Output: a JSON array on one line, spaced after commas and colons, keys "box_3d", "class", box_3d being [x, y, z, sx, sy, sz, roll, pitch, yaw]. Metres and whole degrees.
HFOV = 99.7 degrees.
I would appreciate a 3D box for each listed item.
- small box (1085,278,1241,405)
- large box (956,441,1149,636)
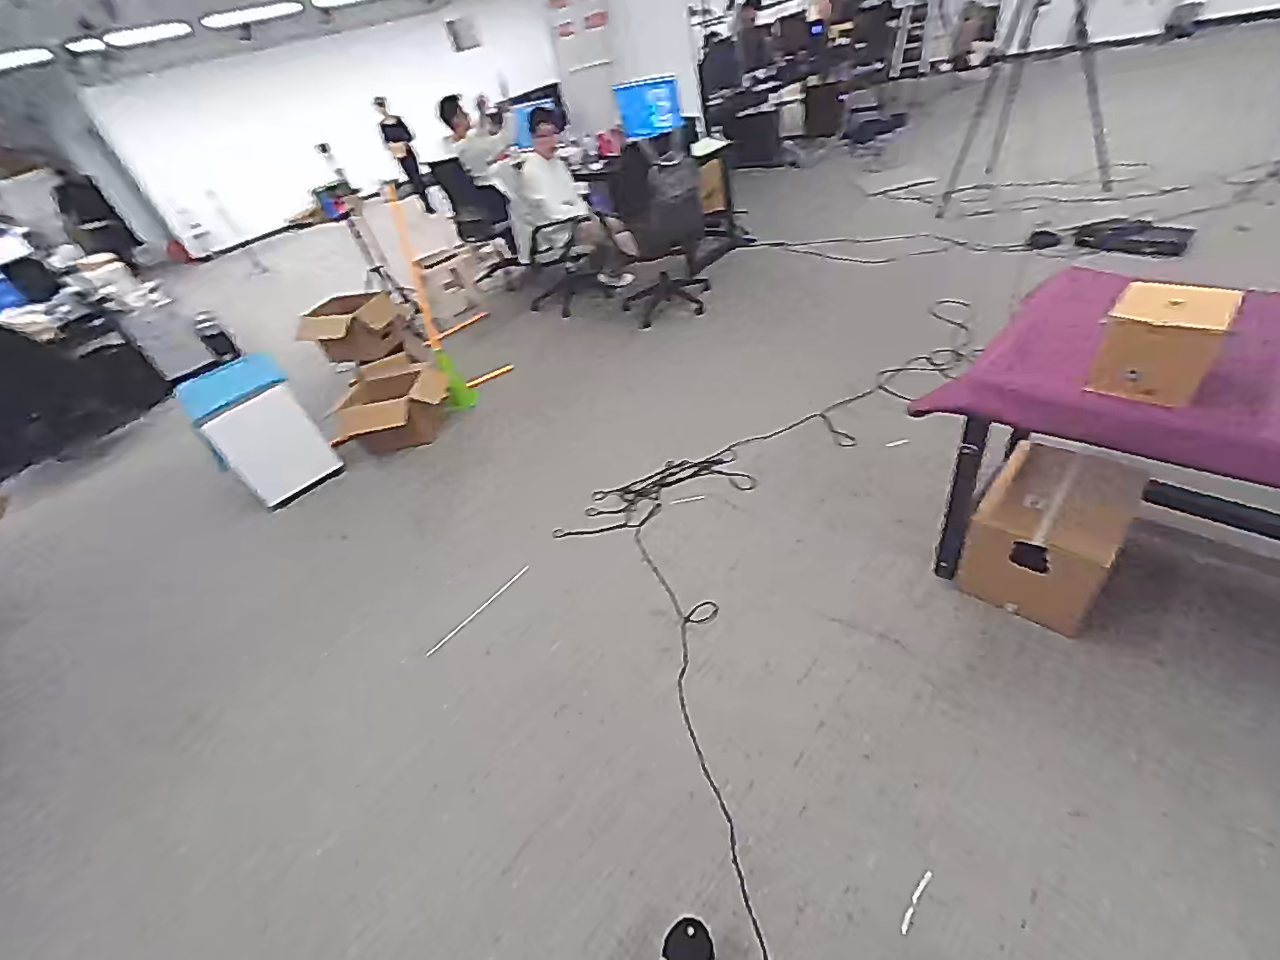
[{"box_3d": [1.026, -0.277, 1.073, 0.168, 0.176, 0.179, 26, 54, 39], "class": "small box"}, {"box_3d": [1.173, 0.155, 1.561, 0.320, 0.320, 0.408, 24, 55, 39], "class": "large box"}]
